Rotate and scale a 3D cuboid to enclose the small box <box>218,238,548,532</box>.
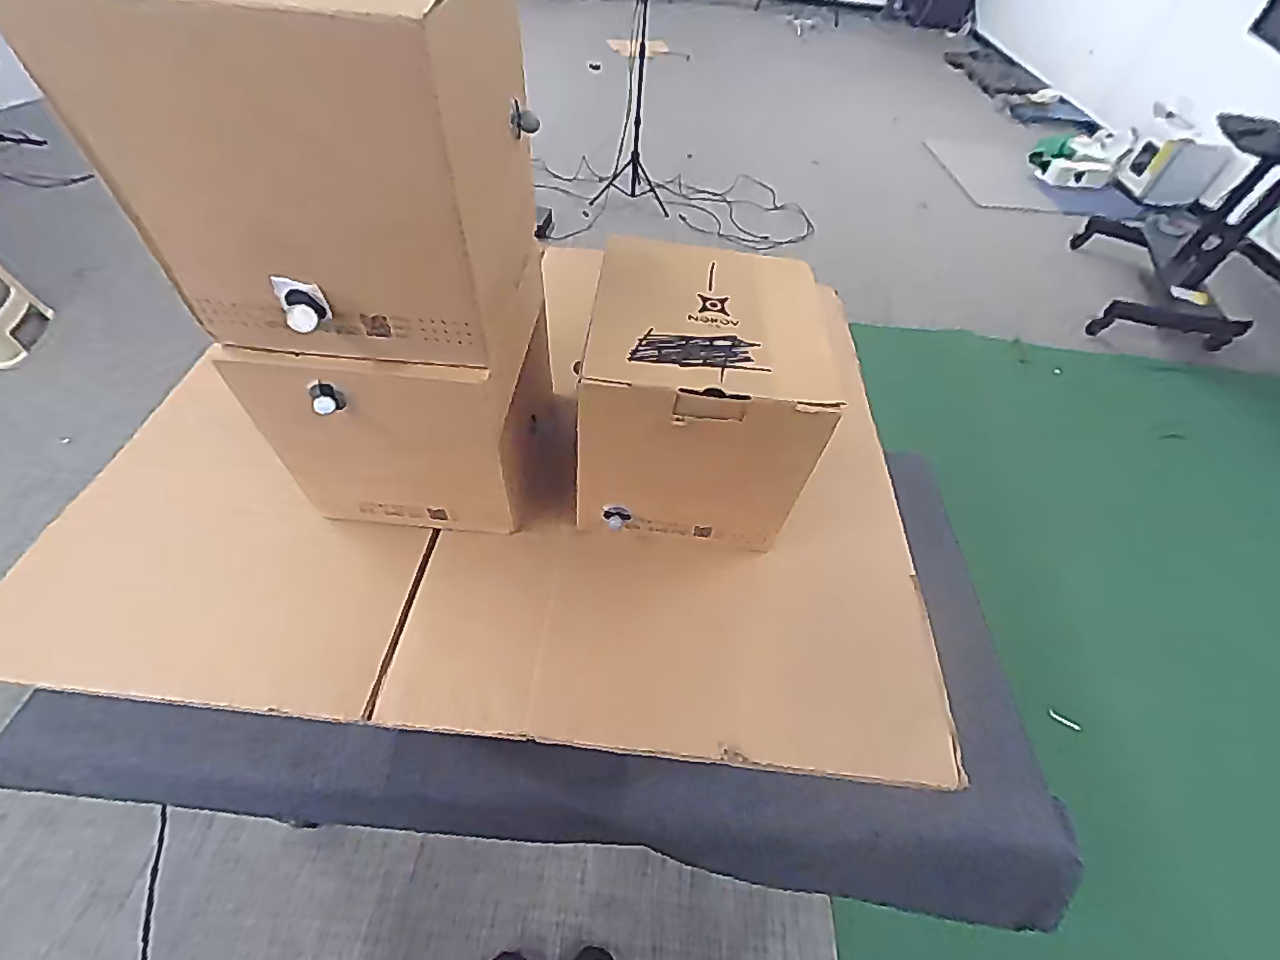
[{"bbox_3d":[-0.173,-0.081,0.438,0.168,0.176,0.179,5,51,1],"label":"small box"}]

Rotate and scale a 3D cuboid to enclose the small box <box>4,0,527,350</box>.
[{"bbox_3d":[-0.162,-0.199,0.304,0.168,0.176,0.179,3,53,-1],"label":"small box"}]
